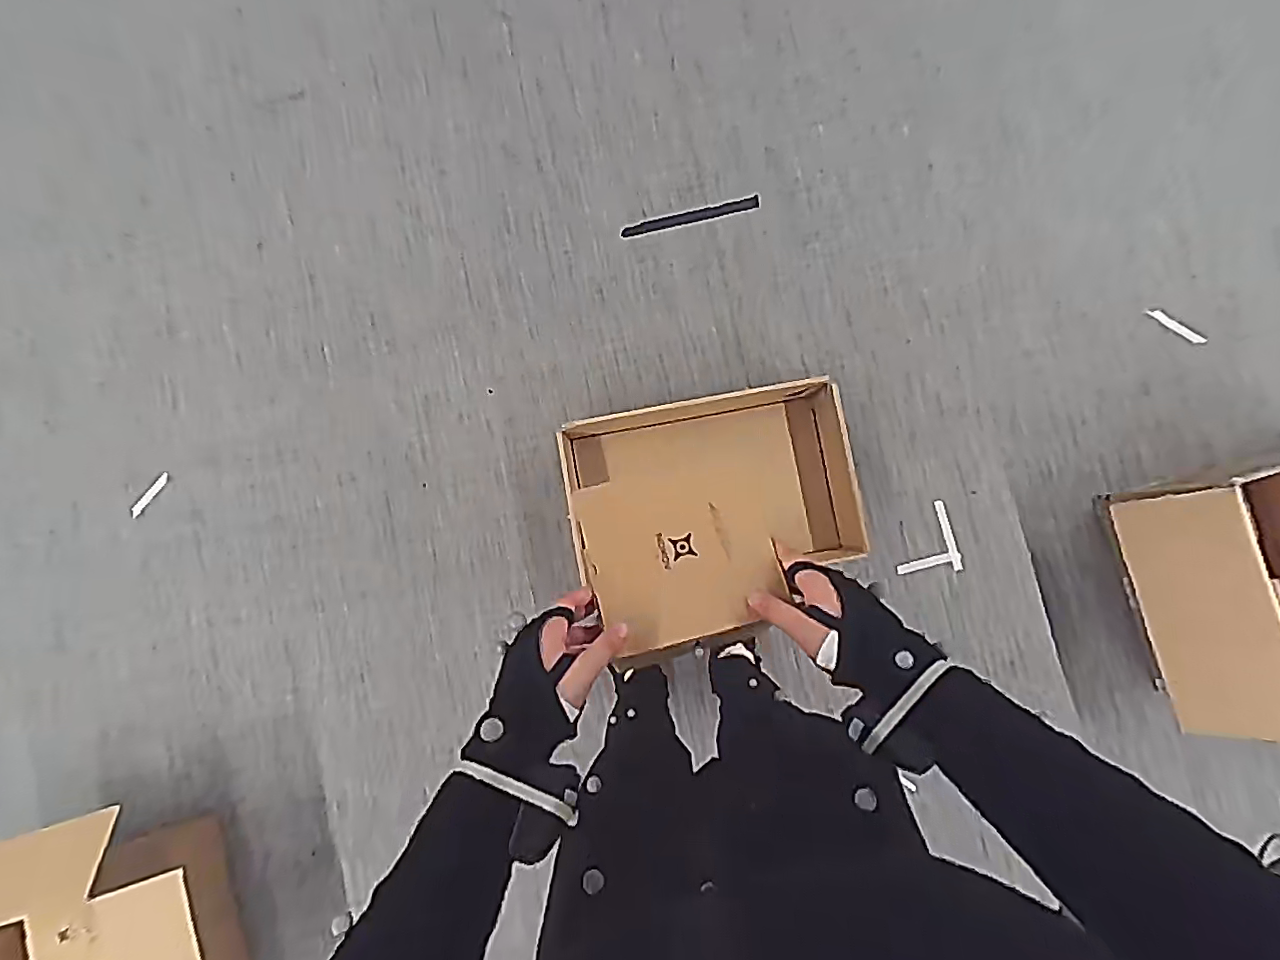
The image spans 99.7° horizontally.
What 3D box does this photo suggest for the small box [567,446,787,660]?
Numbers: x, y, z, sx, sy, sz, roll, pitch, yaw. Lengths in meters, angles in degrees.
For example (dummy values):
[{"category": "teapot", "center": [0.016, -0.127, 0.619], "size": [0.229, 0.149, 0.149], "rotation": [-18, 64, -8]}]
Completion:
[{"category": "small box", "center": [0.032, 0.088, 0.582], "size": [0.179, 0.176, 0.168], "rotation": [-14, 69, -6]}]
